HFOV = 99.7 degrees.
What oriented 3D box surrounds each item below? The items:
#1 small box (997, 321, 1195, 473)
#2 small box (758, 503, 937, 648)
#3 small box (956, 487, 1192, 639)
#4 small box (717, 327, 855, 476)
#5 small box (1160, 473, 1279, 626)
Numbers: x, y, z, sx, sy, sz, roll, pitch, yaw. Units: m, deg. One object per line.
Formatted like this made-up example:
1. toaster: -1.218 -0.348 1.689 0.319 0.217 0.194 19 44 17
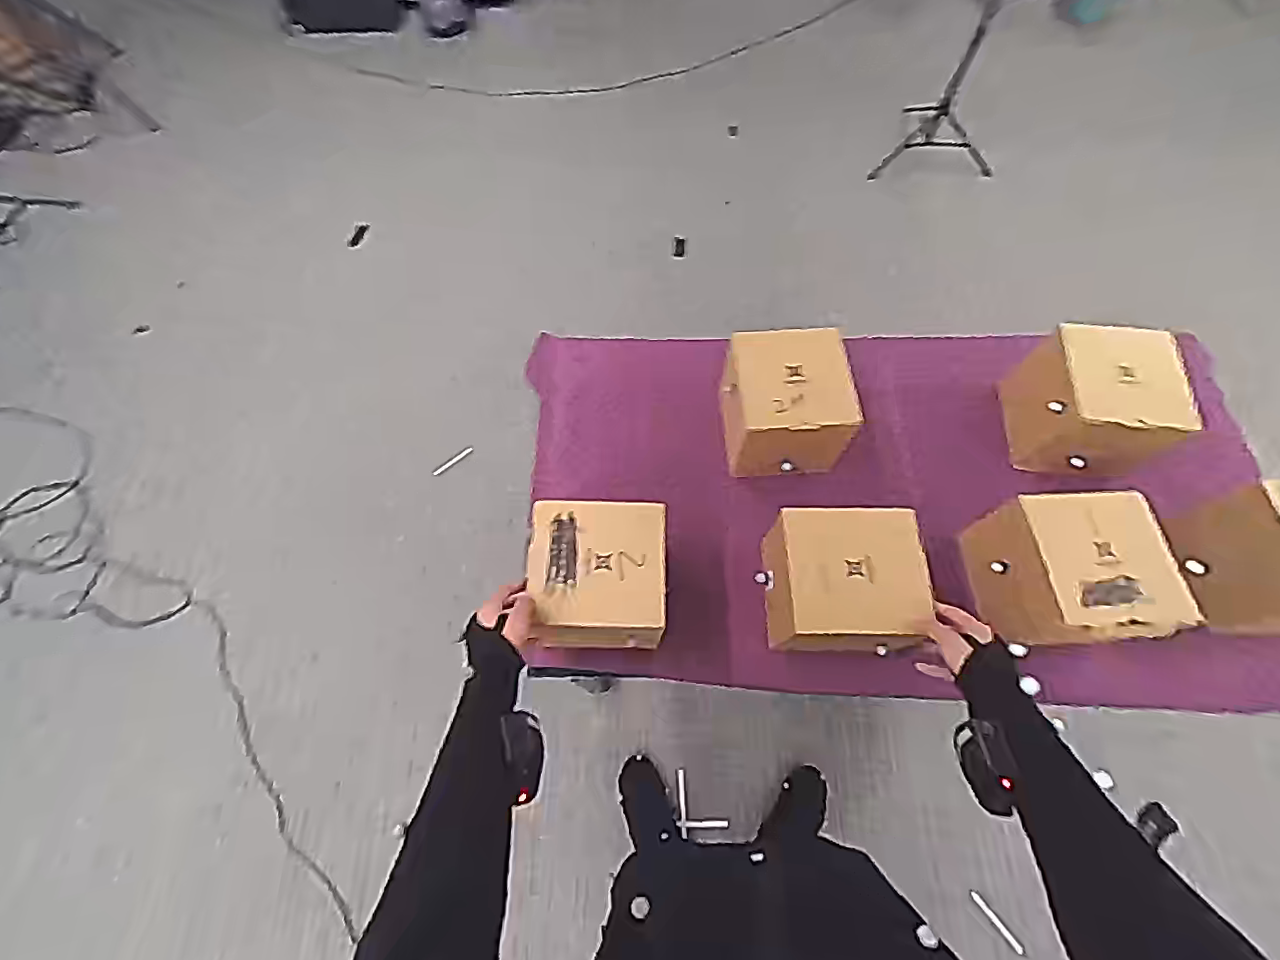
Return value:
1. small box: 0.712 -0.129 0.873 0.168 0.176 0.179 5 67 4
2. small box: 0.273 0.139 0.756 0.179 0.176 0.168 0 65 1
3. small box: 0.582 0.124 0.756 0.168 0.176 0.179 -2 64 0
4. small box: 0.224 -0.123 0.879 0.168 0.176 0.179 -4 66 0
5. small box: 0.904 0.104 0.756 0.168 0.176 0.179 1 64 2
